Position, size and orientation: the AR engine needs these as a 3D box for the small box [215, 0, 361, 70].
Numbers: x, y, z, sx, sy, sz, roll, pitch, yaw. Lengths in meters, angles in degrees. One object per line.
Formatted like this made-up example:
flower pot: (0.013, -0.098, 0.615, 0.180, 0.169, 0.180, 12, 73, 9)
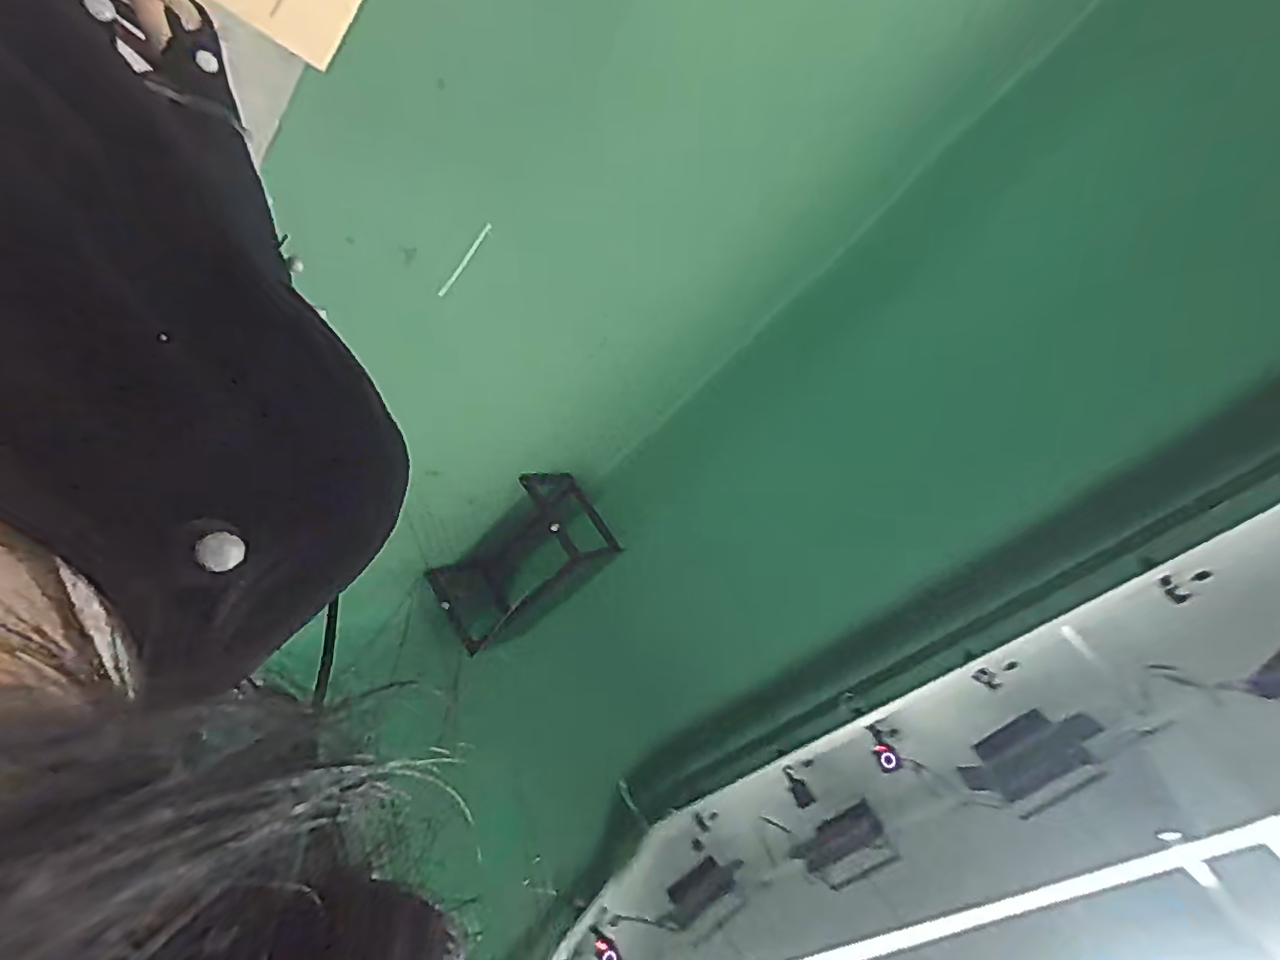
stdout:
small box: (-0.487, -0.711, 0.704, 0.179, 0.176, 0.168, -40, 165, 21)
